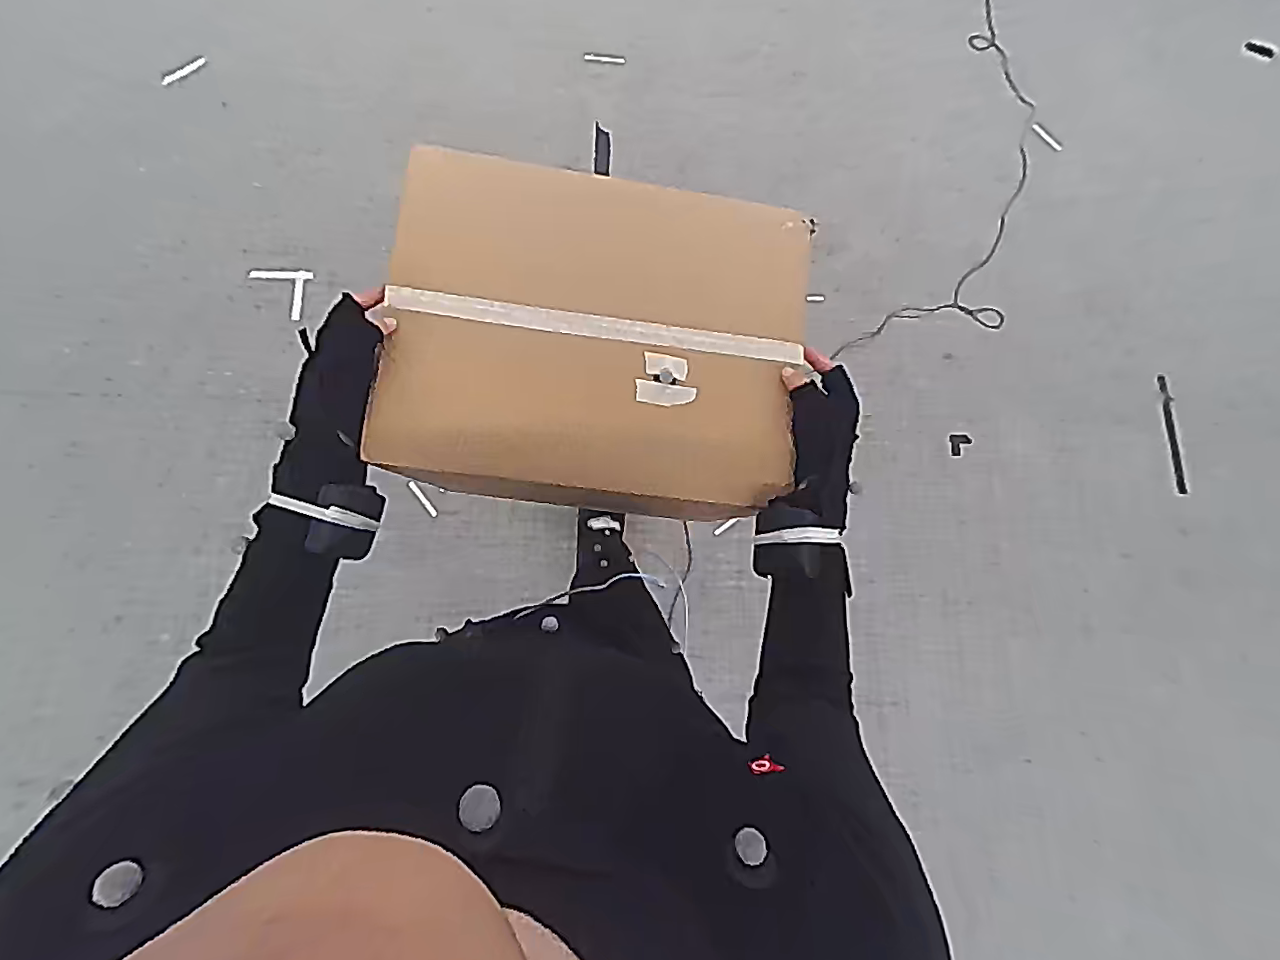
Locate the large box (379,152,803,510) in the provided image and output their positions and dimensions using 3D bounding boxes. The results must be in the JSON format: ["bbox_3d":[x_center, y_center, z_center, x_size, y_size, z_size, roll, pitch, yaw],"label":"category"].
[{"bbox_3d":[-0.054,-0.140,0.686,0.408,0.320,0.320,7,84,-7],"label":"large box"}]
